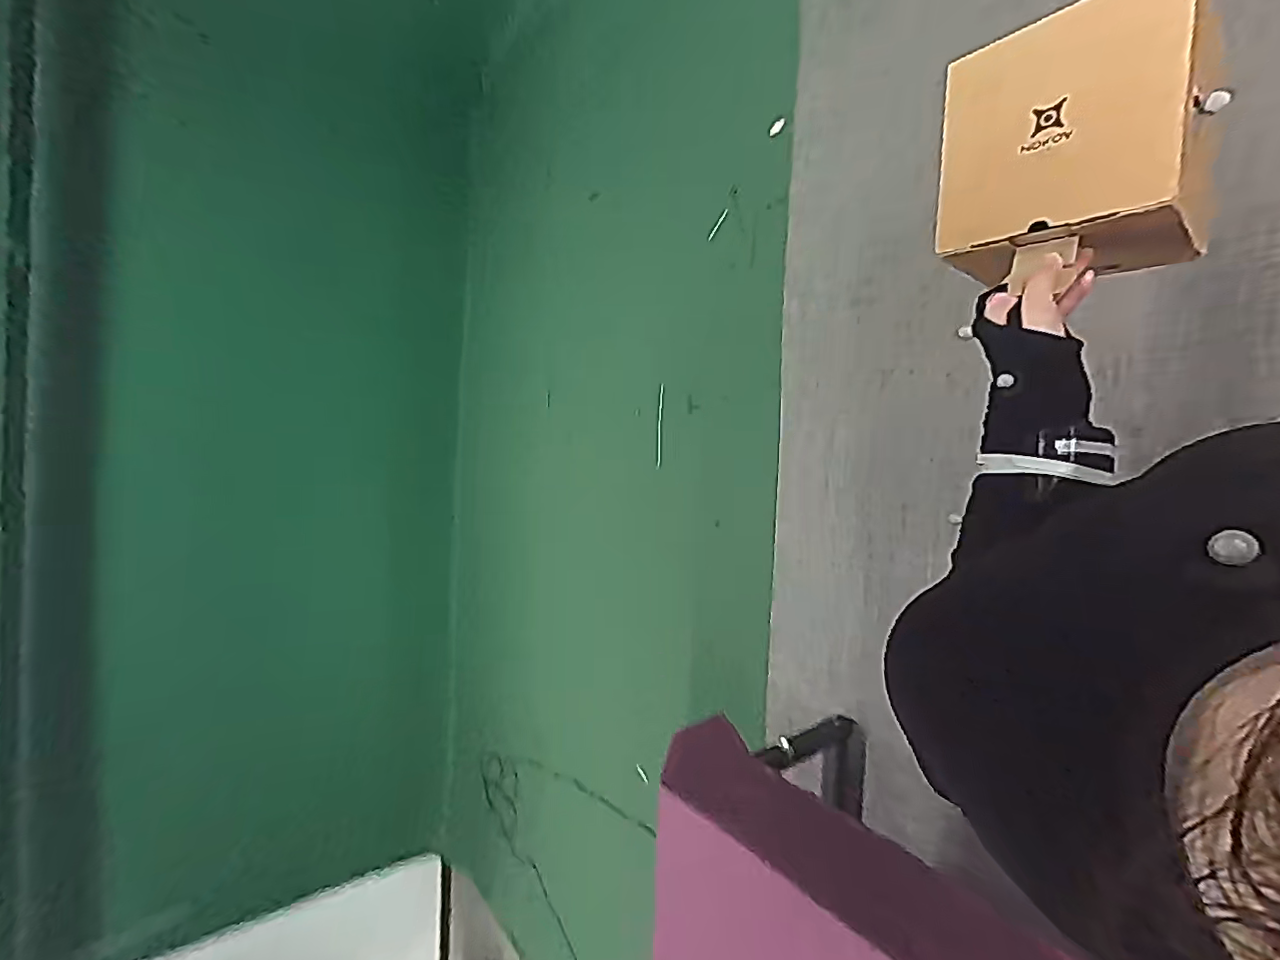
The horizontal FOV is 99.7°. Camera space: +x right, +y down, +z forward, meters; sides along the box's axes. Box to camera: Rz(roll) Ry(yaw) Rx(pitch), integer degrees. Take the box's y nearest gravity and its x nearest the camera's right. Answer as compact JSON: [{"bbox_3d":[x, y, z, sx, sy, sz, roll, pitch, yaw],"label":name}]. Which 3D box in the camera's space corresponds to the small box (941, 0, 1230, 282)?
[{"bbox_3d":[0.402,-0.297,0.491,0.168,0.176,0.179,10,99,50],"label":"small box"}]
